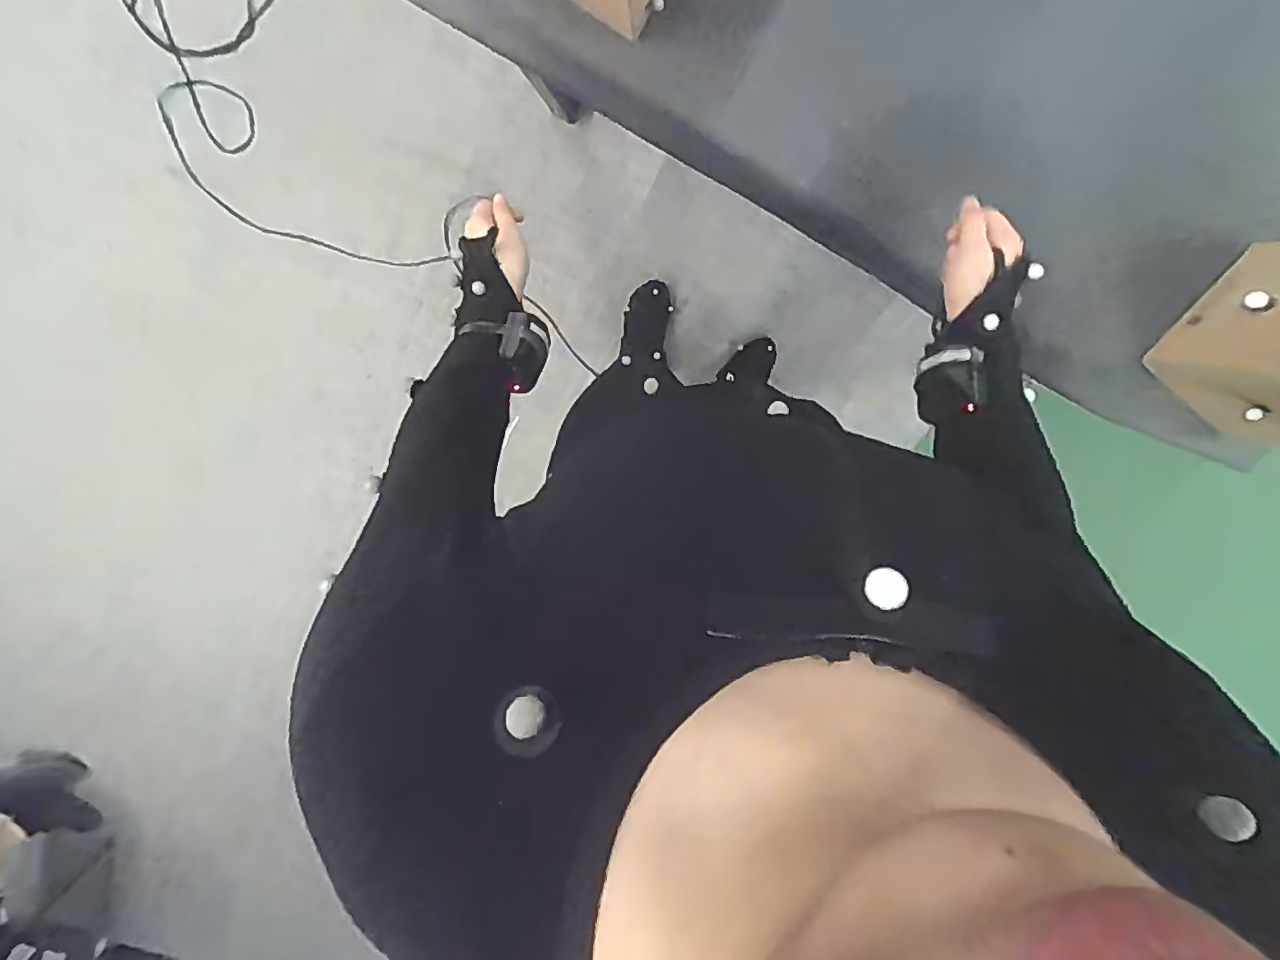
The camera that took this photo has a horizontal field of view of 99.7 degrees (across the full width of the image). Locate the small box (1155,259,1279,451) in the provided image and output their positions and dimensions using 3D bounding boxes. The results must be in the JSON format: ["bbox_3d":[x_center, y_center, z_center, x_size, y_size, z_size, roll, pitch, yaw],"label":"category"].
[{"bbox_3d":[0.731,-0.129,0.577,0.179,0.176,0.168,33,106,-9],"label":"small box"}]

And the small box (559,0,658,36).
[{"bbox_3d":[-0.040,-0.529,0.459,0.179,0.176,0.168,29,110,-8],"label":"small box"}]
